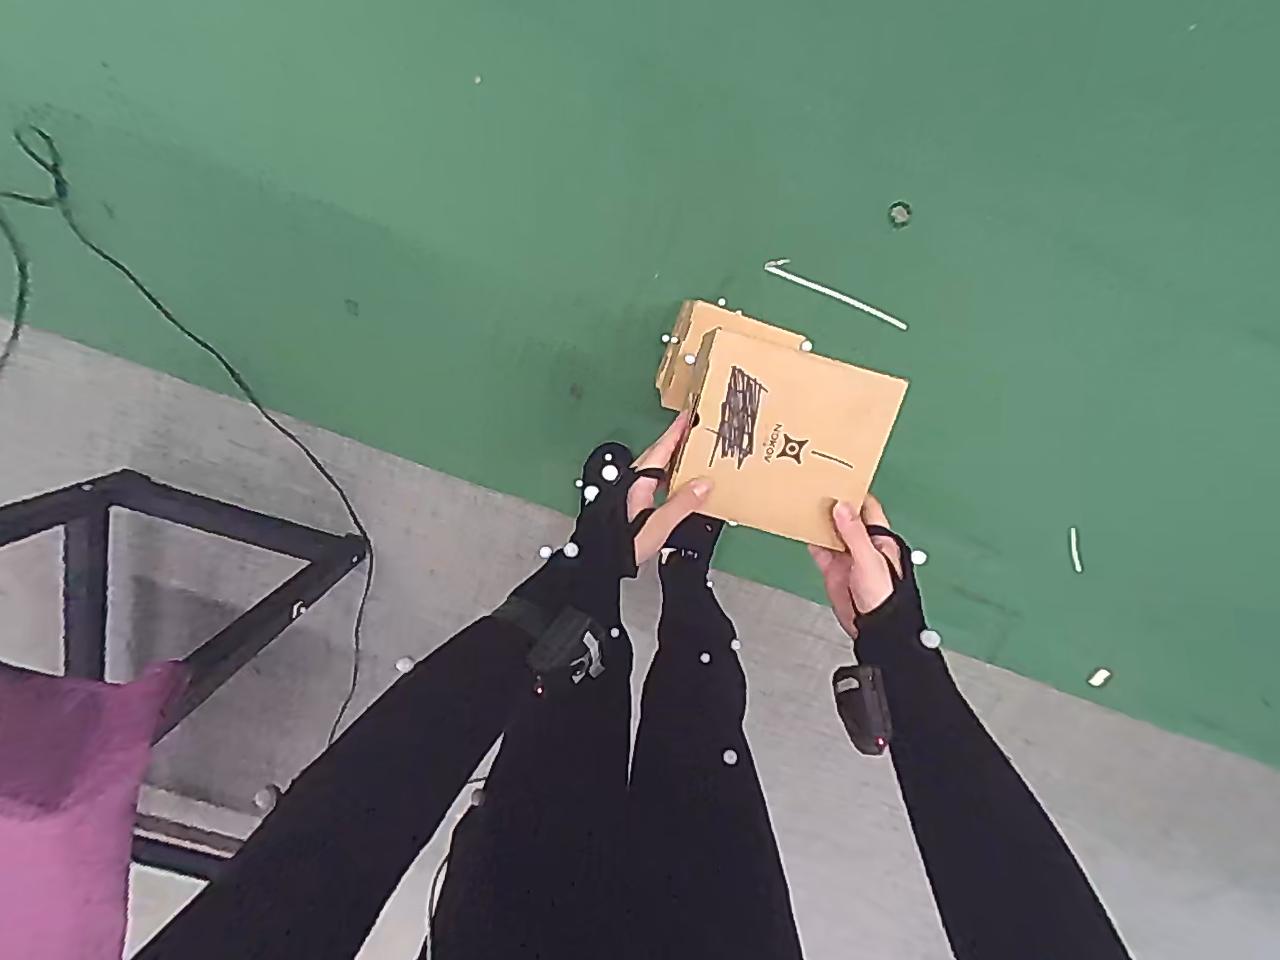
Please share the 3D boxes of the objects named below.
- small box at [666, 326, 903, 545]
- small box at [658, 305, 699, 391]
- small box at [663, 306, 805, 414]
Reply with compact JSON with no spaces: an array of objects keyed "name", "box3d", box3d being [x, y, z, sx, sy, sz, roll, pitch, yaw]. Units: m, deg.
[{"name":"small box","box3d":[0.132,-0.054,0.569,0.179,0.176,0.168,15,103,-1]},{"name":"small box","box3d":[0.143,-0.234,1.054,0.179,0.176,0.168,20,107,-4]},{"name":"small box","box3d":[0.144,-0.185,0.899,0.179,0.176,0.168,17,107,-3]}]
